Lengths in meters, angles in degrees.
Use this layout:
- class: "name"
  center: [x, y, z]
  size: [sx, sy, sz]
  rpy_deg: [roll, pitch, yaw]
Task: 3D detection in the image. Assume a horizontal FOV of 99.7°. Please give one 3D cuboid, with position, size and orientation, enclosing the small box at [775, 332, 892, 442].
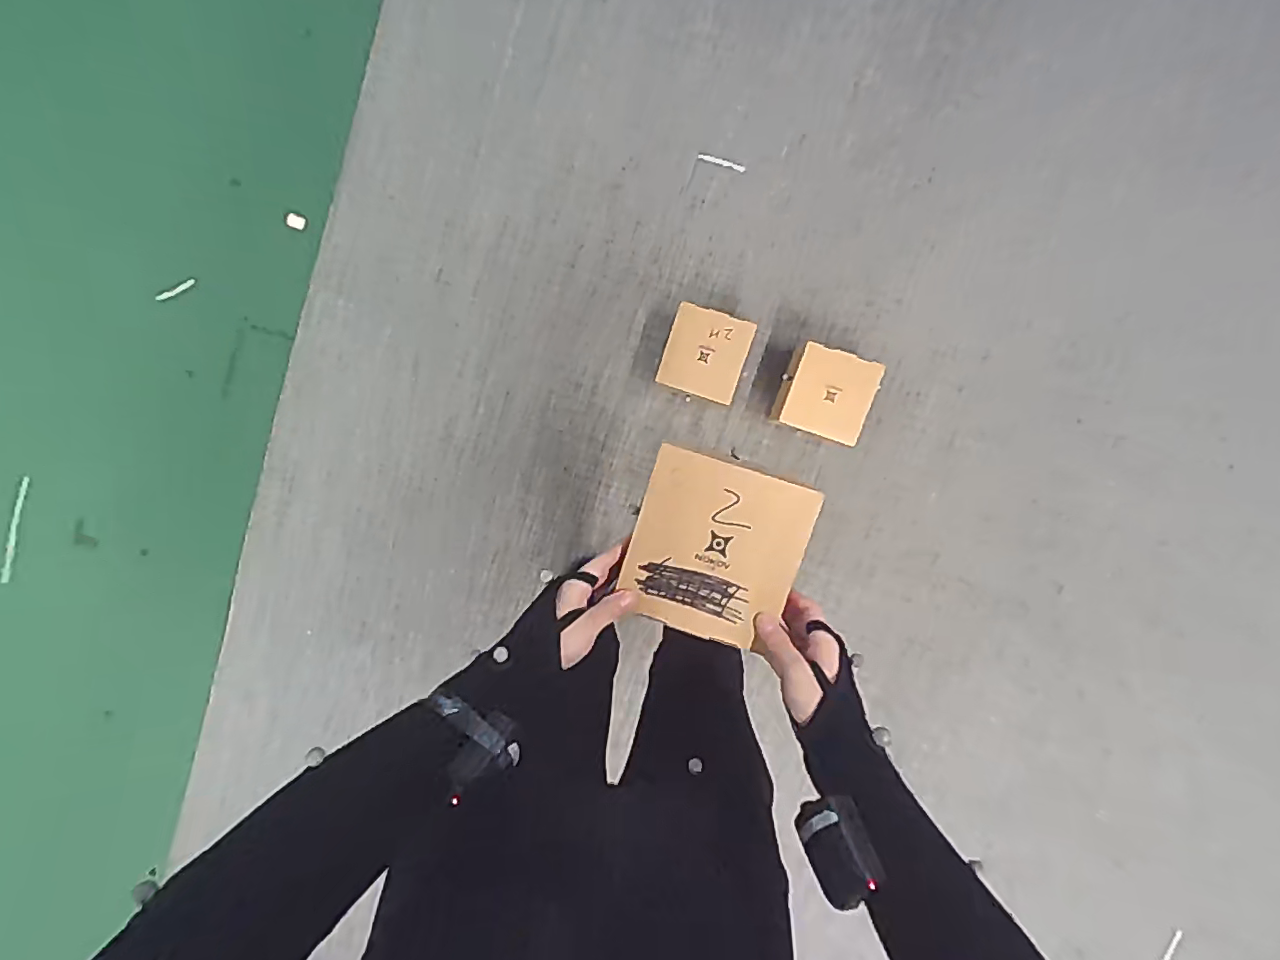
- class: "small box"
  center: [0.399, -0.192, 1.150]
  size: [0.168, 0.176, 0.179]
  rpy_deg: [21, 98, 4]

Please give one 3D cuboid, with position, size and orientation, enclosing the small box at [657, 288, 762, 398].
- class: "small box"
  center: [0.148, -0.284, 1.164]
  size: [0.168, 0.176, 0.179]
  rpy_deg: [21, 98, 3]
